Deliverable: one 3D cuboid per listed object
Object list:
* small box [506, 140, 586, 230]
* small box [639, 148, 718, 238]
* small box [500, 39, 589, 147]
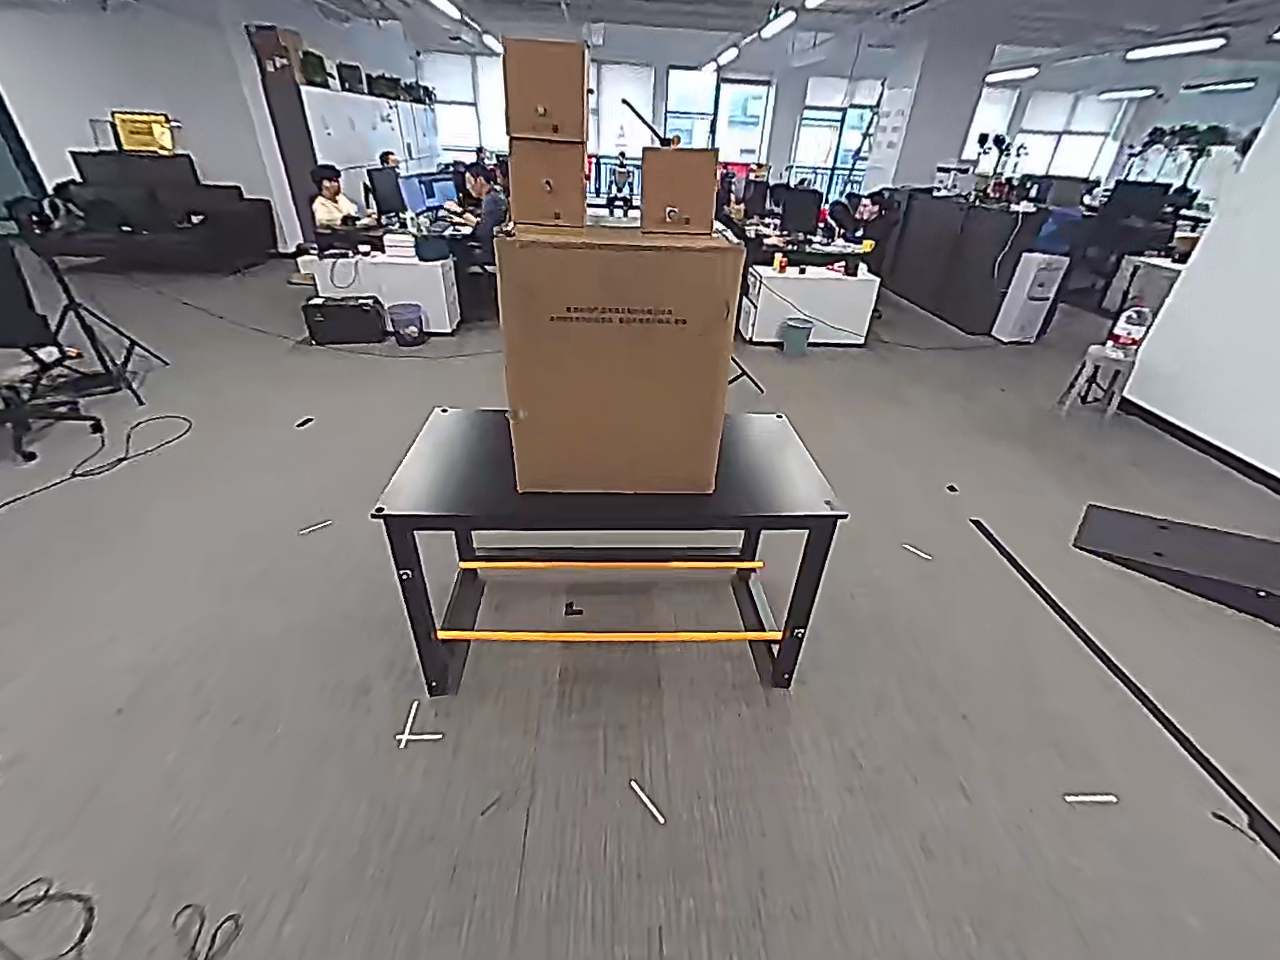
[{"bbox_3d":[-0.211,-0.690,1.263,0.168,0.176,0.179,1,33,-5],"label":"small box"},{"bbox_3d":[0.082,-0.663,1.245,0.168,0.176,0.179,-1,33,-1],"label":"small box"},{"bbox_3d":[-0.198,-0.821,1.161,0.168,0.176,0.179,2,32,-3],"label":"small box"}]
